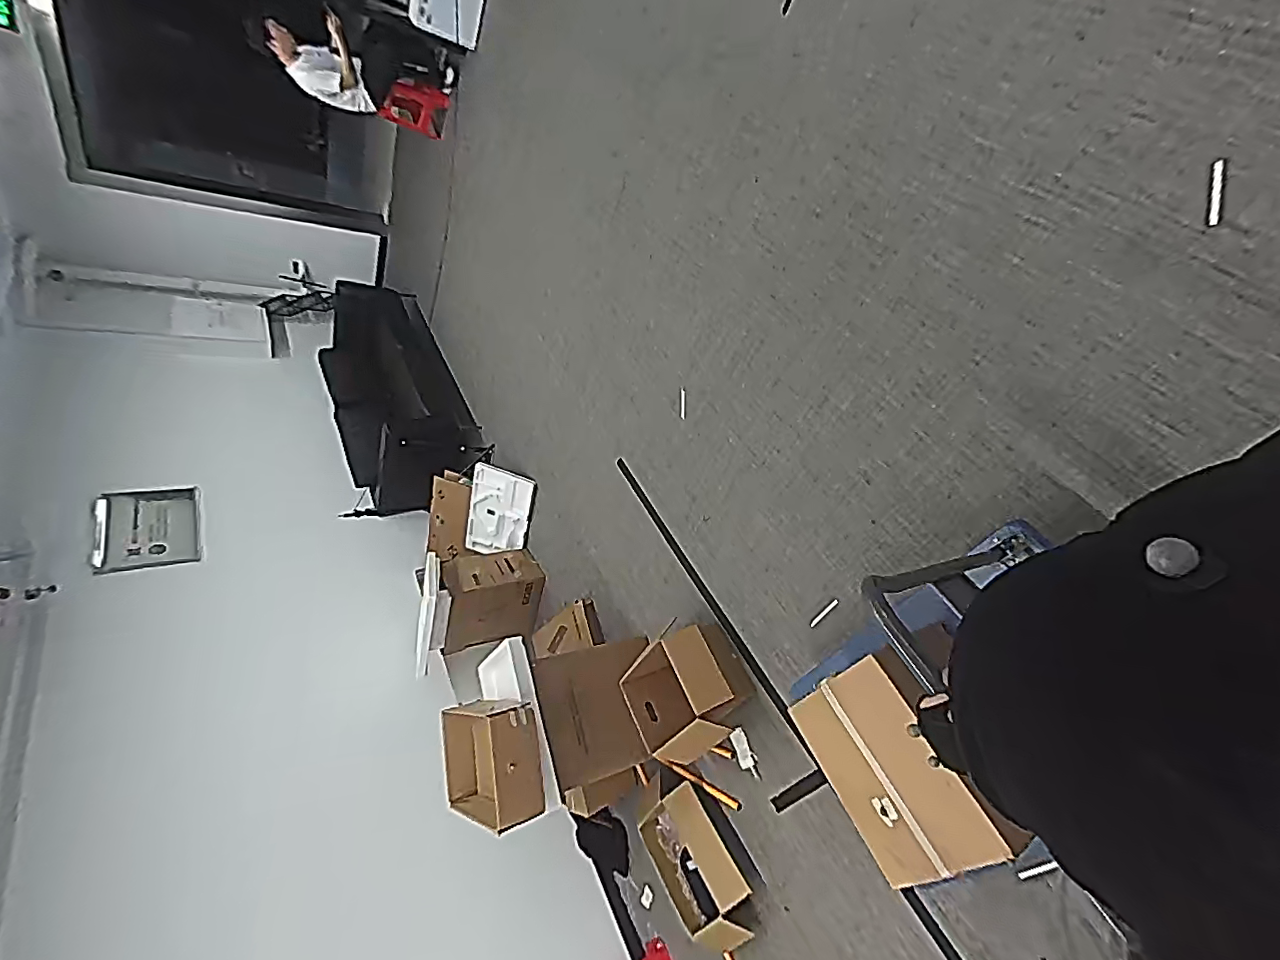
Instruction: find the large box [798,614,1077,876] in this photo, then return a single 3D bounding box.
[{"bbox_3d":[0.656,0.581,1.236,0.408,0.320,0.320,60,138,30],"label":"large box"}]
